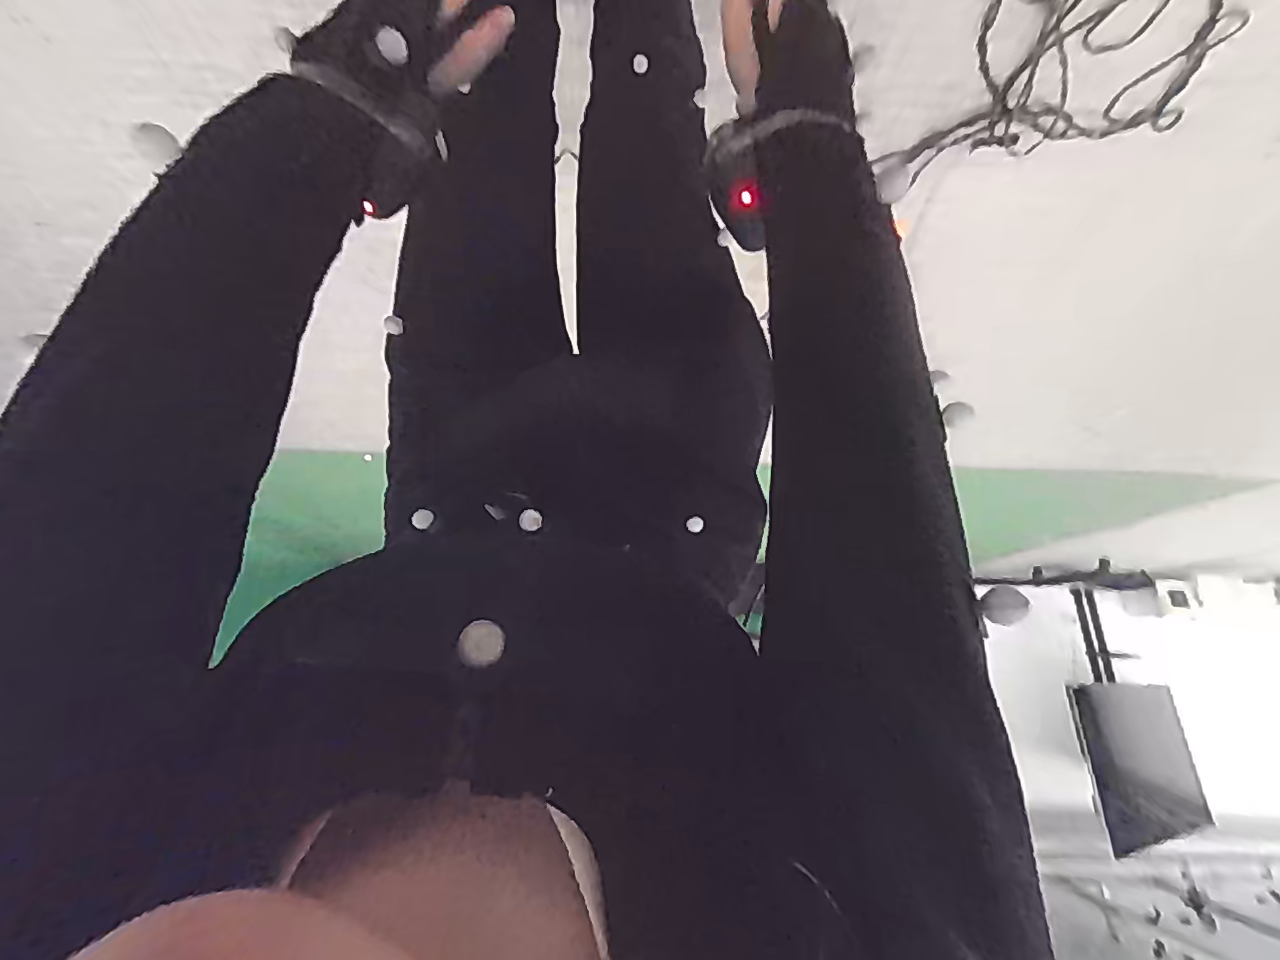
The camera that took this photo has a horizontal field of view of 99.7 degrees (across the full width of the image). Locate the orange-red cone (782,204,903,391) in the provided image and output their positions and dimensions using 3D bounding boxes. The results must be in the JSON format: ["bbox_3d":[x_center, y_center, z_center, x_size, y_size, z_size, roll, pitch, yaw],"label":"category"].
[{"bbox_3d":[0.440,-0.354,1.137,0.199,0.360,0.198,7,161,-20],"label":"orange-red cone"}]
